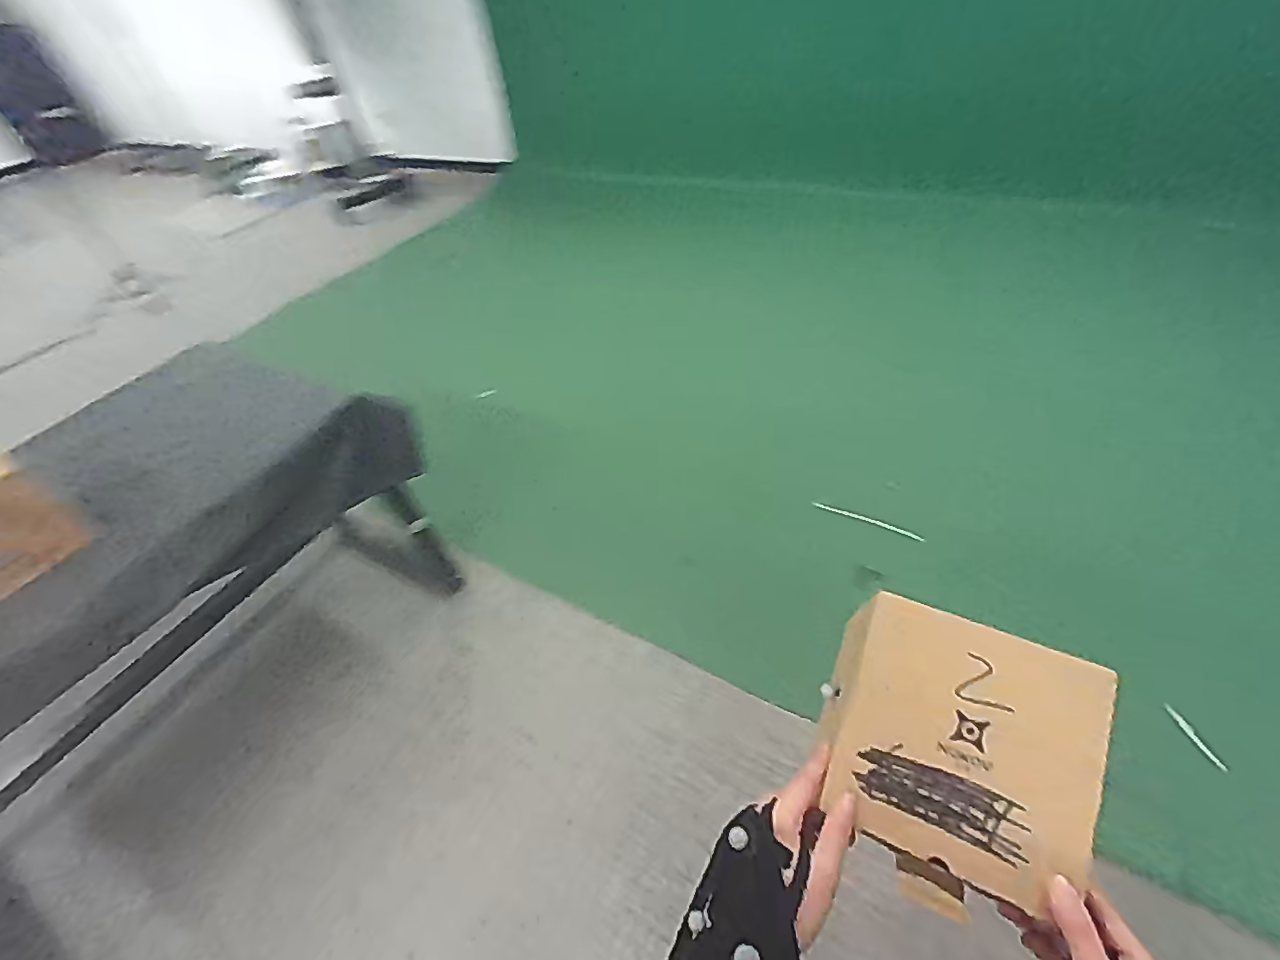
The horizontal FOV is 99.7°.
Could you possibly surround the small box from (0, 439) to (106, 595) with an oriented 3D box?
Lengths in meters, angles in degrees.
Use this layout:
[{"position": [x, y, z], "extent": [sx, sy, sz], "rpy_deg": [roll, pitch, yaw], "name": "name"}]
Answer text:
[{"position": [-1.060, 0.060, 0.891], "extent": [0.179, 0.176, 0.168], "rpy_deg": [21, 53, 26], "name": "small box"}]
